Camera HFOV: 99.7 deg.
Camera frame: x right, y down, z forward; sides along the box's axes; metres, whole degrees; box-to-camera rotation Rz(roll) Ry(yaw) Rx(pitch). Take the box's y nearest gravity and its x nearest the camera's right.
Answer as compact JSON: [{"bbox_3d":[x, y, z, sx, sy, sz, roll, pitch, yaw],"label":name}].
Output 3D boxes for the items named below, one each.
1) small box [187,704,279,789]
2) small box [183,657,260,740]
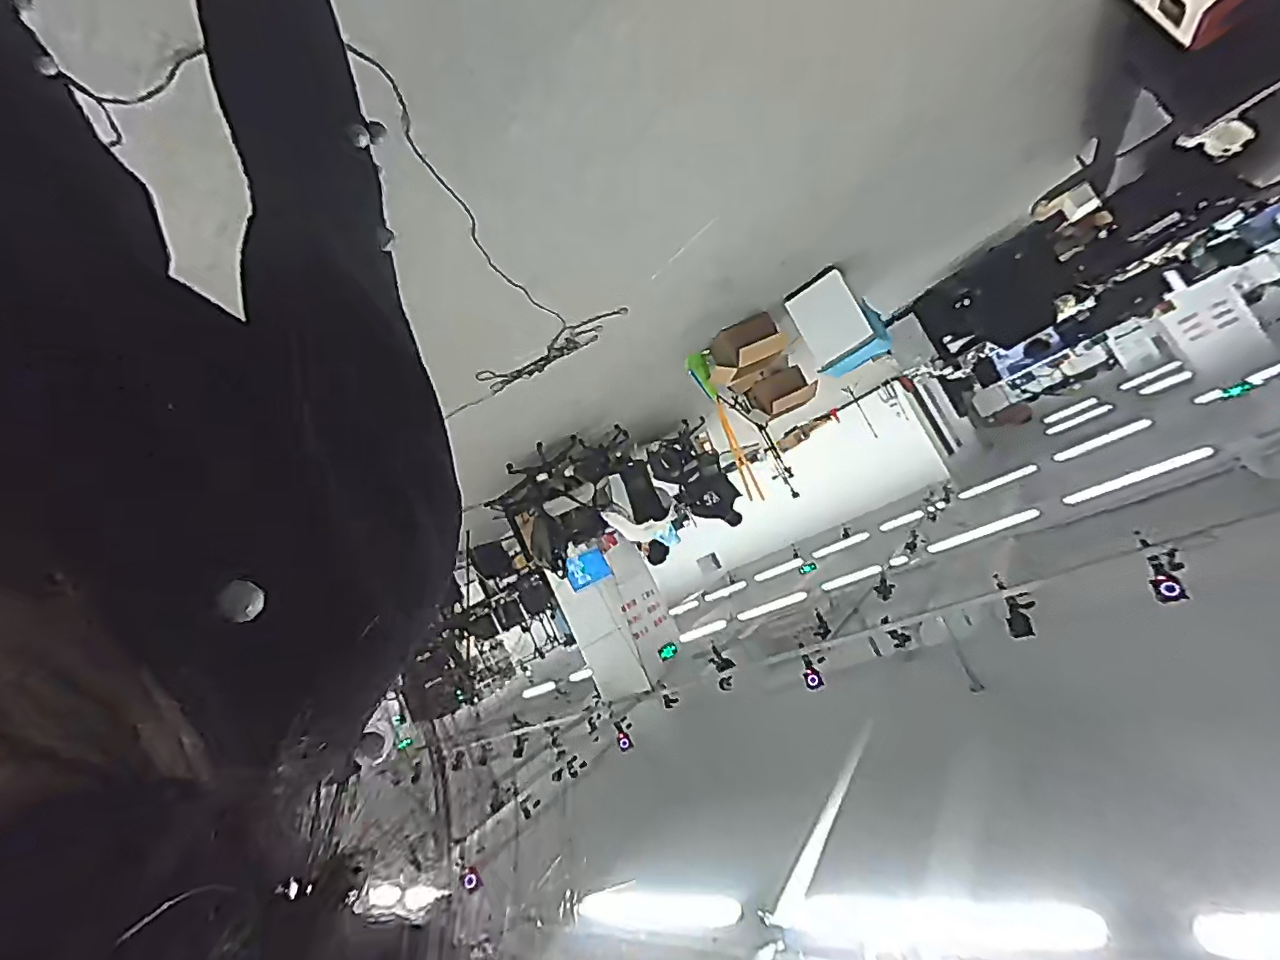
[{"bbox_3d":[-1.298,0.843,1.720,0.168,0.176,0.179,-32,170,33],"label":"small box"},{"bbox_3d":[-1.372,0.697,1.738,0.168,0.176,0.179,-33,171,35],"label":"small box"}]
